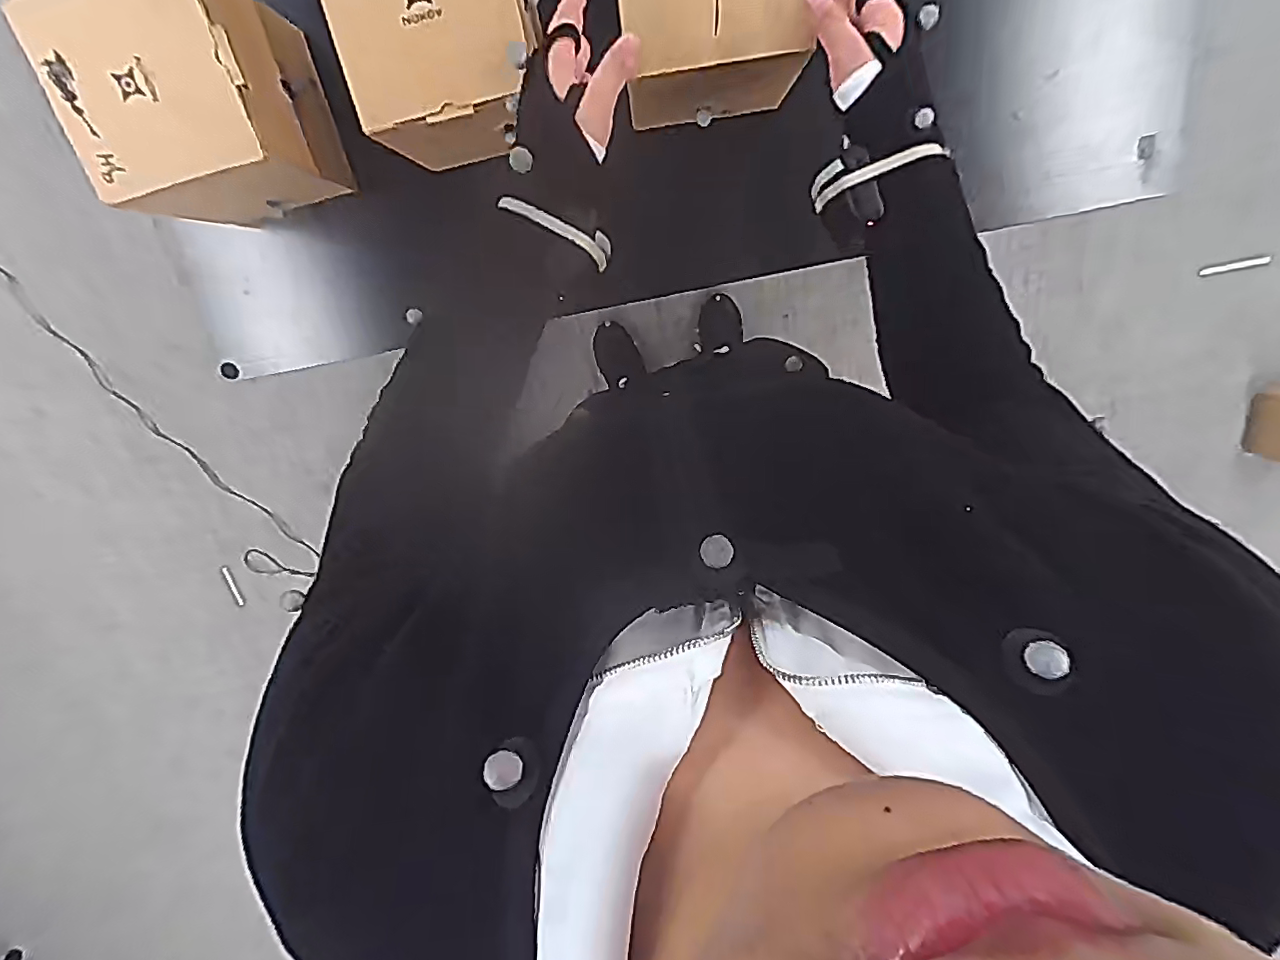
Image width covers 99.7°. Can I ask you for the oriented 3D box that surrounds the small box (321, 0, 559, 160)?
[{"bbox_3d":[-0.186,-0.436,0.531,0.168,0.176,0.179,-11,108,4],"label":"small box"}]

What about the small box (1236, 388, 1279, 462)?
[{"bbox_3d":[1.685,-0.141,1.369,0.168,0.176,0.179,-9,110,6],"label":"small box"}]

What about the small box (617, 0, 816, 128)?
[{"bbox_3d":[0.061,-0.467,0.514,0.168,0.176,0.179,-6,110,3],"label":"small box"}]

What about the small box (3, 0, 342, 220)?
[{"bbox_3d":[-0.441,-0.382,0.554,0.179,0.176,0.168,-13,108,4],"label":"small box"}]
